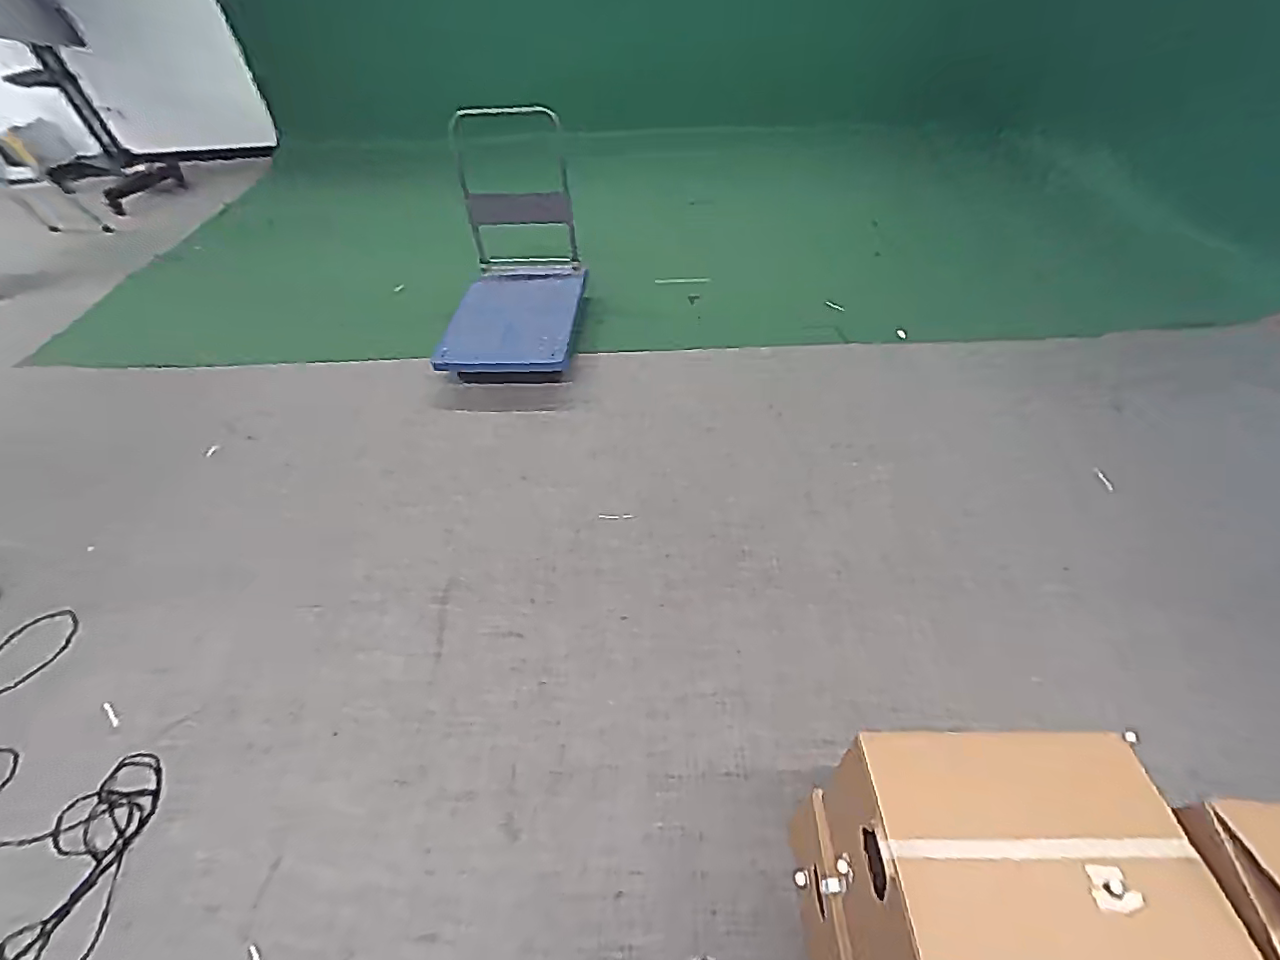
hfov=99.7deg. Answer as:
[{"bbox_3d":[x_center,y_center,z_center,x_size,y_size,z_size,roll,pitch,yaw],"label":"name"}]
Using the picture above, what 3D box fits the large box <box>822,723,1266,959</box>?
[{"bbox_3d":[0.540,0.595,0.828,0.408,0.320,0.320,-1,44,2],"label":"large box"}]
